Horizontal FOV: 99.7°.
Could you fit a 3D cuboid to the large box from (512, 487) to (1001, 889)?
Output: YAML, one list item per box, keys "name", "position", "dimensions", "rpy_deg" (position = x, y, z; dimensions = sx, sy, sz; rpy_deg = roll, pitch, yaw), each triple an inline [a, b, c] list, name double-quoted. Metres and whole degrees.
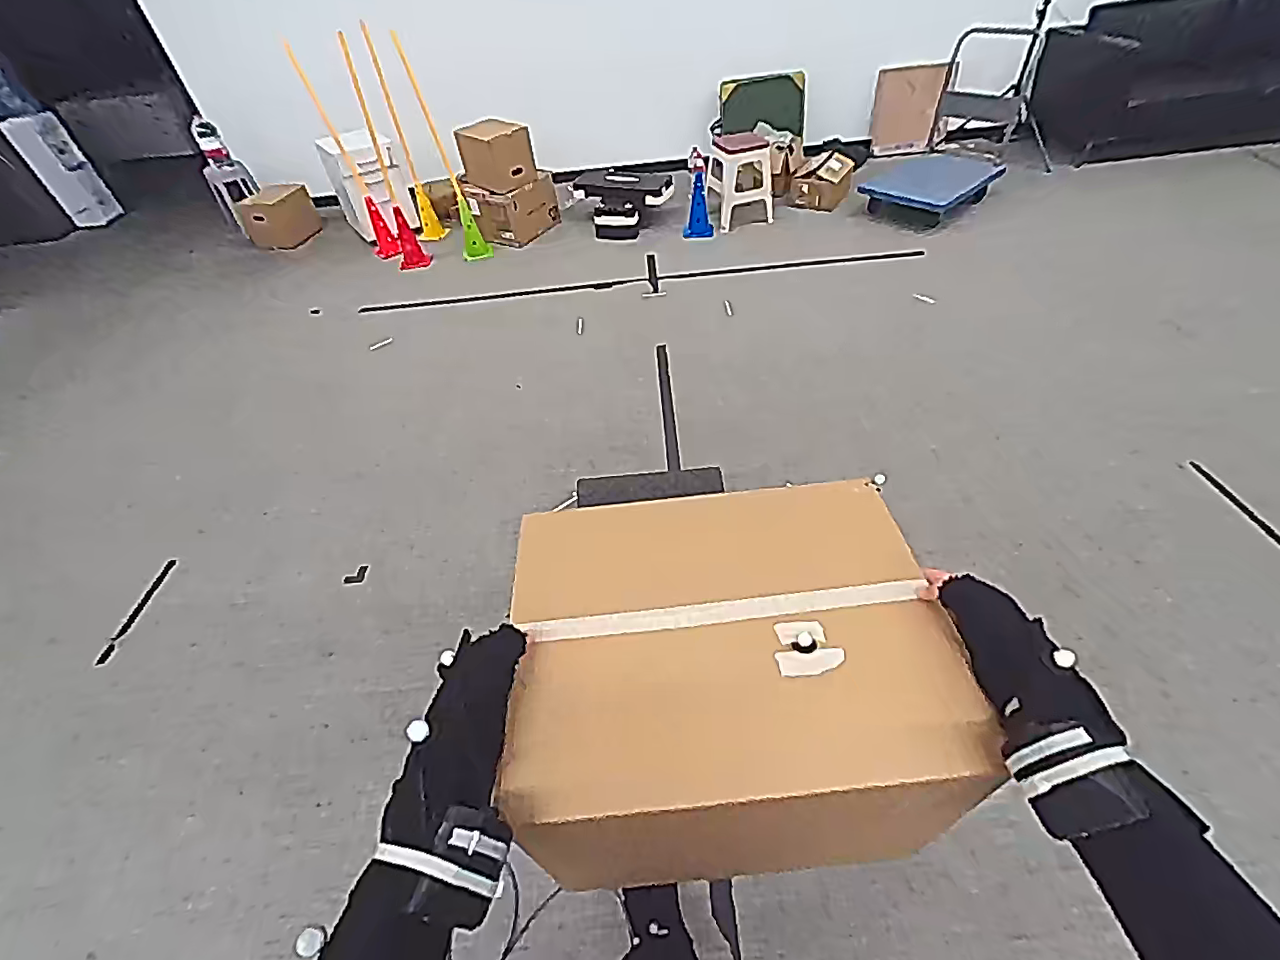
- name: "large box"
  position: [0.091, 0.242, 0.636]
  dimensions: [0.408, 0.320, 0.320]
  rpy_deg: [-6, 45, 0]
